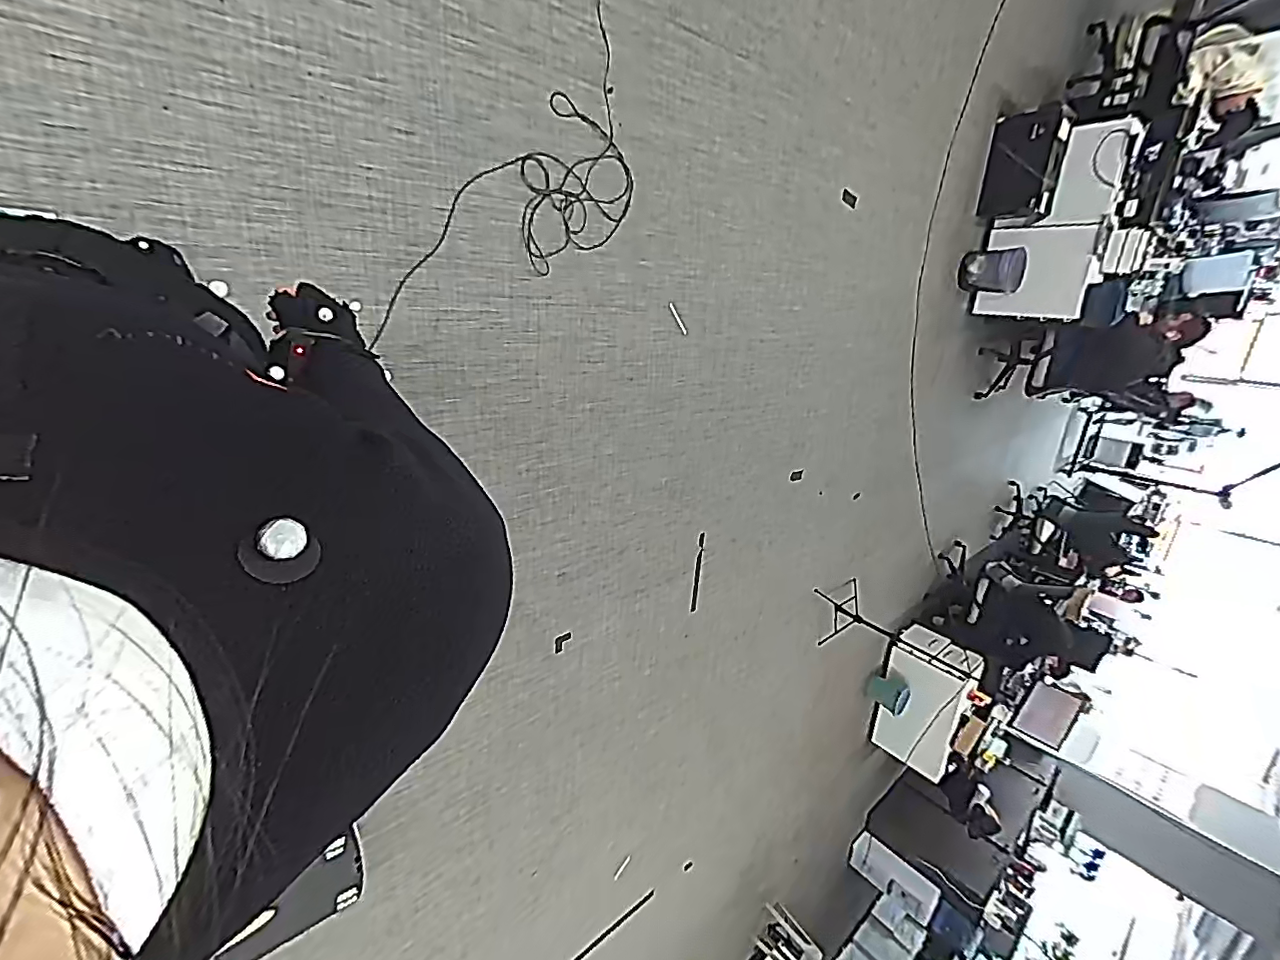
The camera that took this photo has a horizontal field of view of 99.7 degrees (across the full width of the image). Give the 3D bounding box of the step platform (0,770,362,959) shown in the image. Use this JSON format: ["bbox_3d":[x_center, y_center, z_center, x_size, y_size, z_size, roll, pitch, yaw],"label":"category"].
[{"bbox_3d":[-1.086,1.054,1.363,0.684,0.204,0.286,-14,115,-37],"label":"step platform"}]
